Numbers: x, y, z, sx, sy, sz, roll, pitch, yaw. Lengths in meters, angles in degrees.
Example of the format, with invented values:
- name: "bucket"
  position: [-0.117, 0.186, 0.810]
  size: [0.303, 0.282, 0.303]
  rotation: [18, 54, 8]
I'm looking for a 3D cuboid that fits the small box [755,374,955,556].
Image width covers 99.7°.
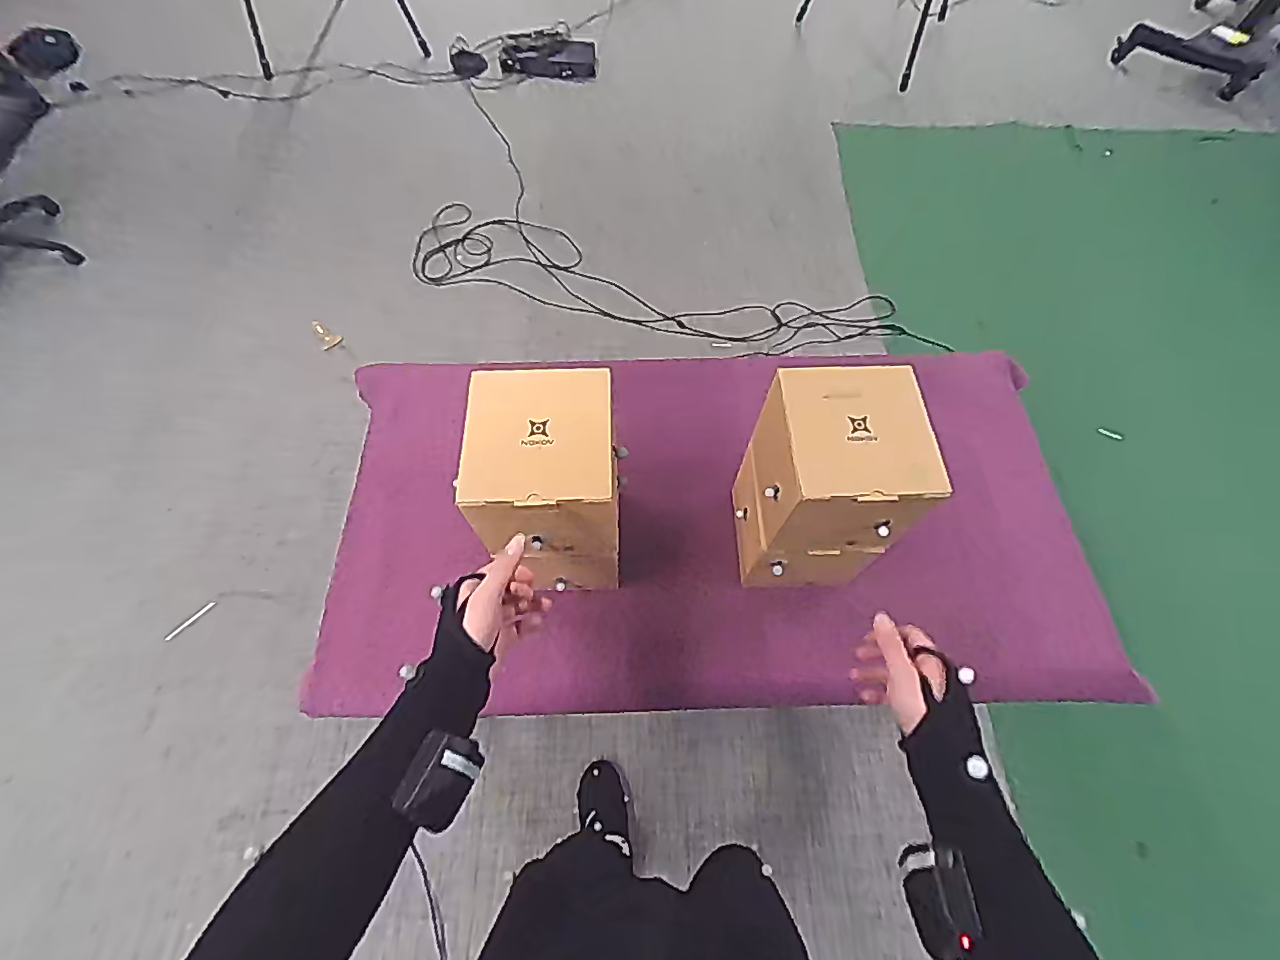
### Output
- name: "small box"
  position: [0.246, -0.011, 0.671]
  size: [0.168, 0.176, 0.179]
  rotation: [-1, 62, -2]

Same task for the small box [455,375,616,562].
- name: "small box"
  position: [-0.114, -0.010, 0.665]
  size: [0.168, 0.176, 0.179]
  rotation: [-1, 63, -2]

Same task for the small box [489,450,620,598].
- name: "small box"
  position: [-0.115, 0.067, 0.807]
  size: [0.168, 0.176, 0.179]
  rotation: [0, 63, -1]
